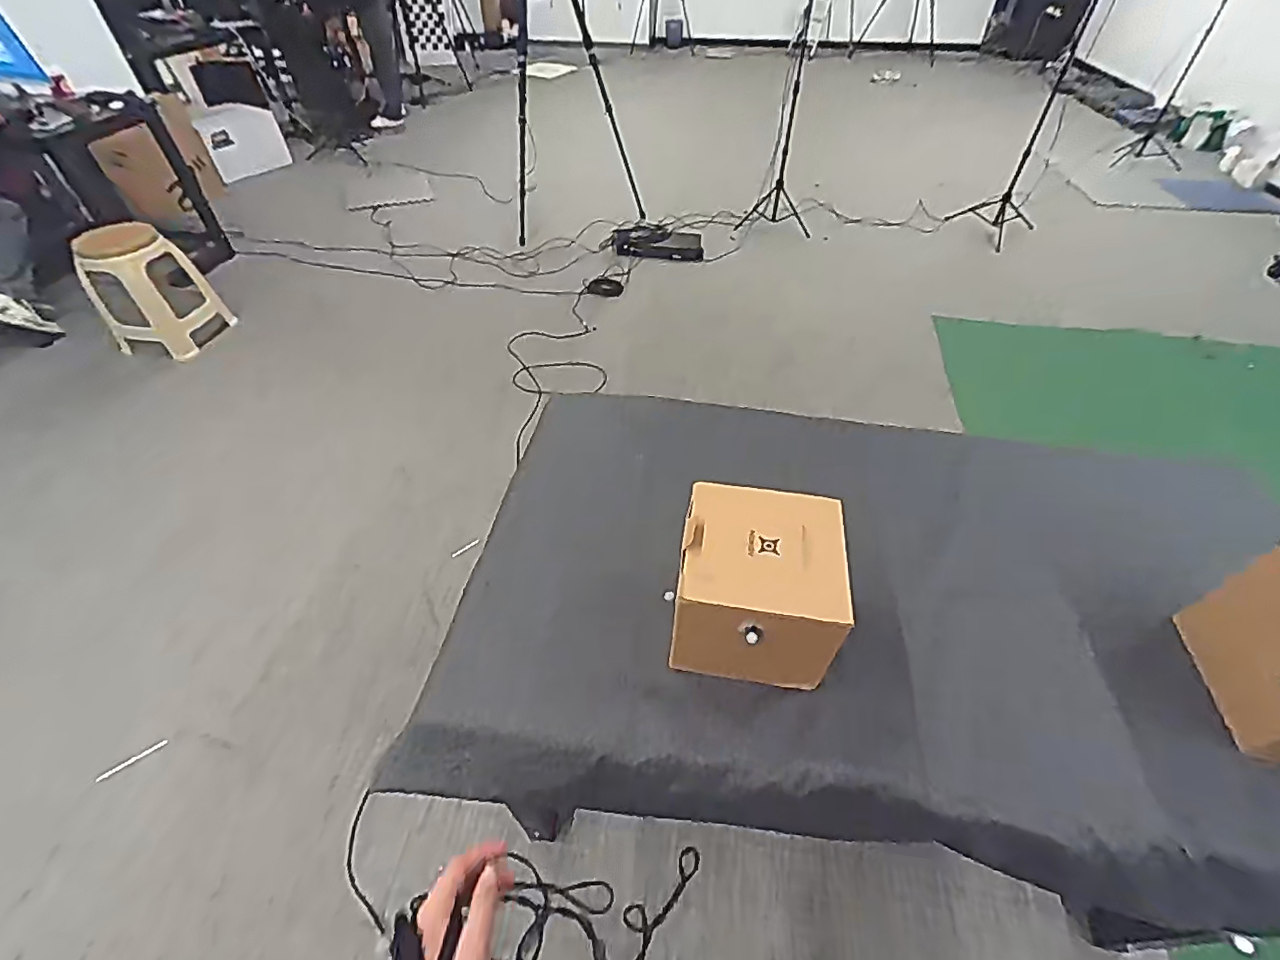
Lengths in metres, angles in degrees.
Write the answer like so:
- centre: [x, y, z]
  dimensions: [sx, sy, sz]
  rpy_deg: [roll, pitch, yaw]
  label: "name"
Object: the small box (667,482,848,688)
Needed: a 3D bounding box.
- centre: [0.129, 0.127, 0.642]
  dimensions: [0.179, 0.176, 0.168]
  rpy_deg: [8, 48, 6]
  label: "small box"
